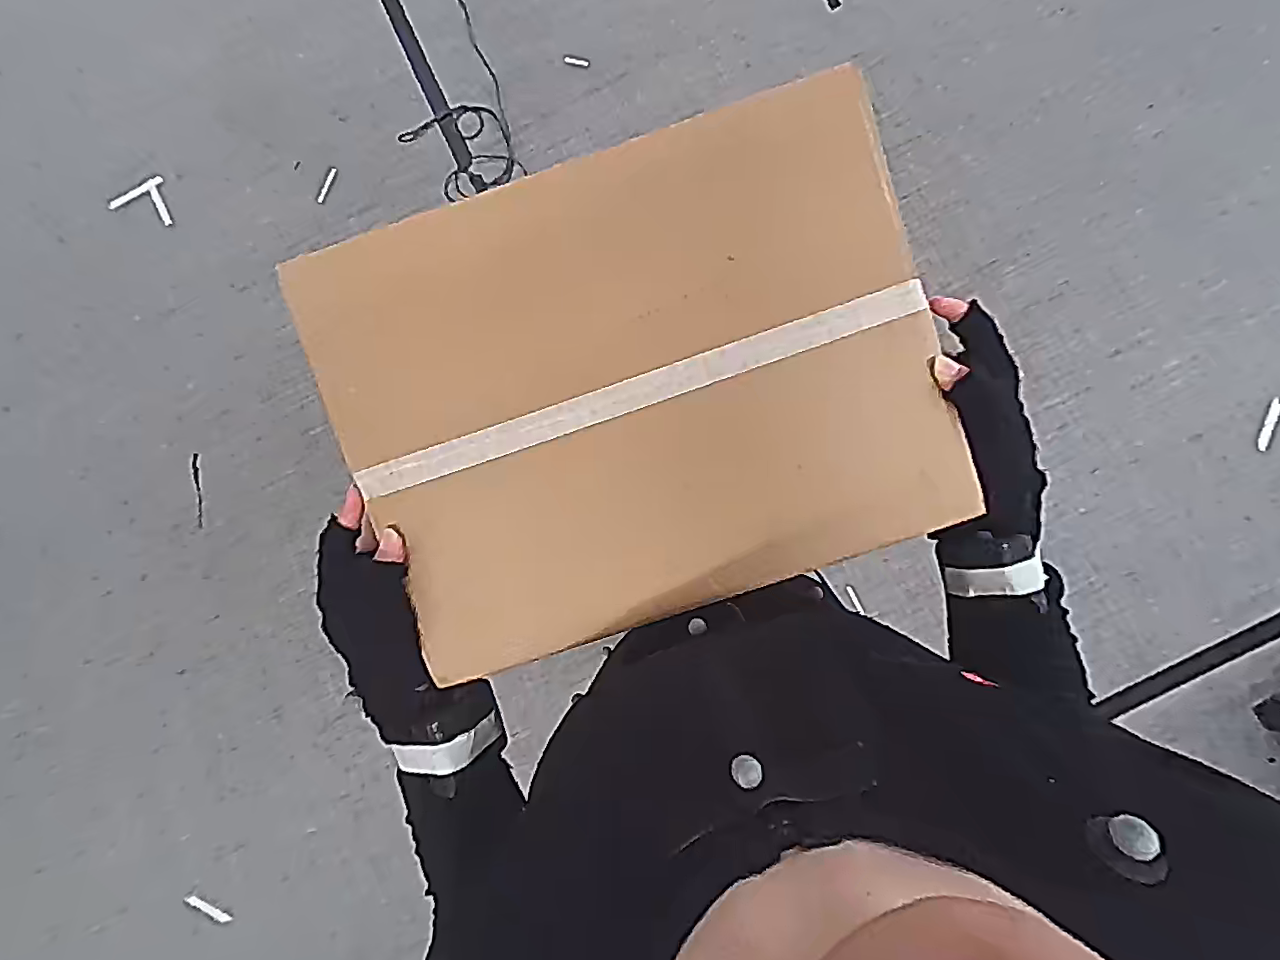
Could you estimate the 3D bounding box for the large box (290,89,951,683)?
[{"bbox_3d":[-0.008,-0.071,0.529,0.408,0.320,0.320,-19,94,2],"label":"large box"}]
